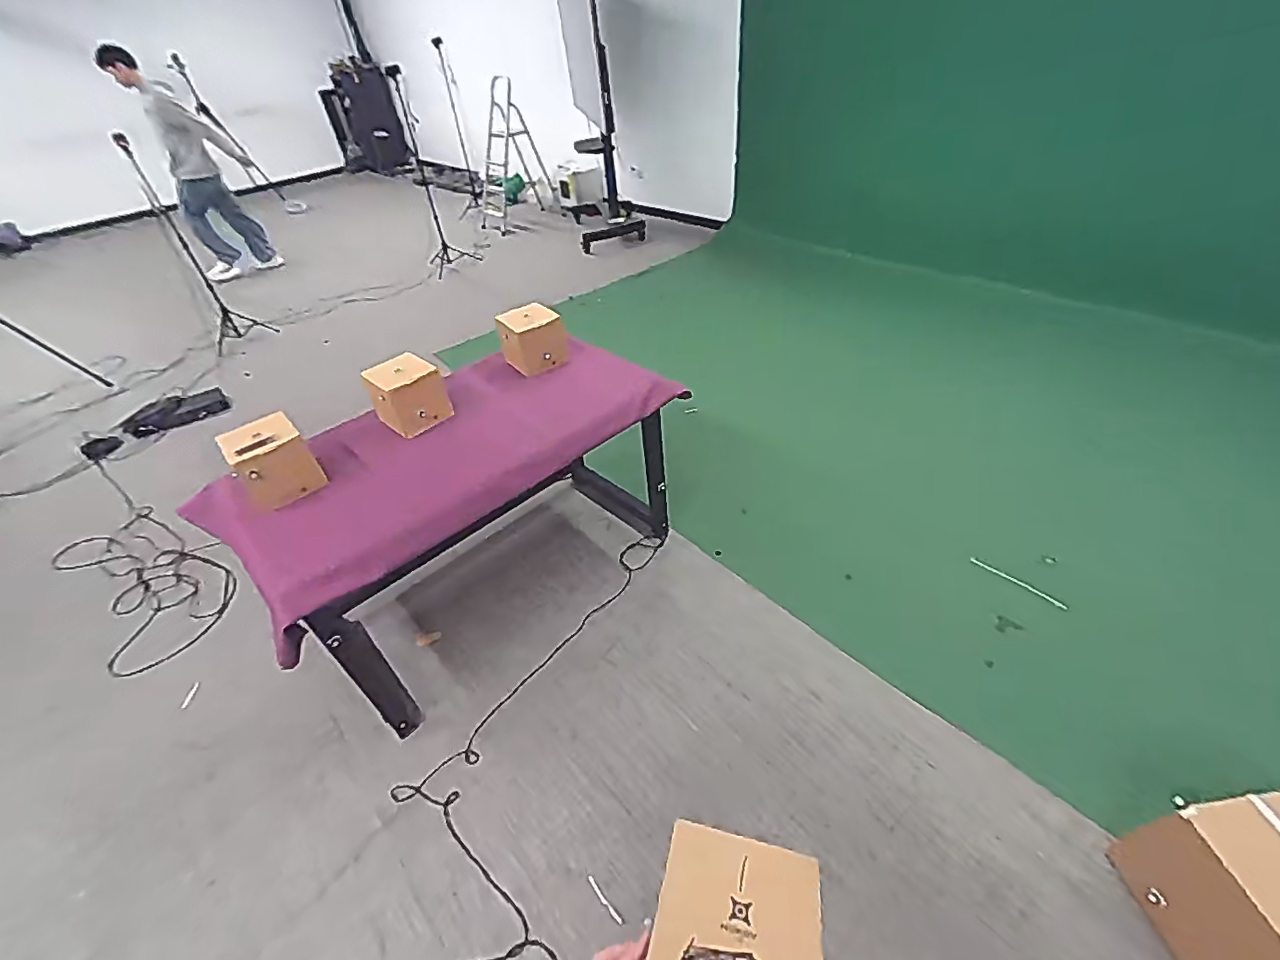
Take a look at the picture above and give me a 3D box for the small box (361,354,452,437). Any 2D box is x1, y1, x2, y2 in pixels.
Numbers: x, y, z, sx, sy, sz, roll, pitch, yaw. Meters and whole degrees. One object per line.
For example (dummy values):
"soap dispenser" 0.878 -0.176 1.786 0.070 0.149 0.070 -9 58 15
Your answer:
"small box" -0.700 -0.253 1.633 0.179 0.176 0.168 29 51 32

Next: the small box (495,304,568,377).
"small box" -0.368 -0.475 1.845 0.168 0.176 0.179 -30 47 -24

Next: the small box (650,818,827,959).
"small box" 0.101 0.517 0.579 0.168 0.176 0.179 9 24 12
